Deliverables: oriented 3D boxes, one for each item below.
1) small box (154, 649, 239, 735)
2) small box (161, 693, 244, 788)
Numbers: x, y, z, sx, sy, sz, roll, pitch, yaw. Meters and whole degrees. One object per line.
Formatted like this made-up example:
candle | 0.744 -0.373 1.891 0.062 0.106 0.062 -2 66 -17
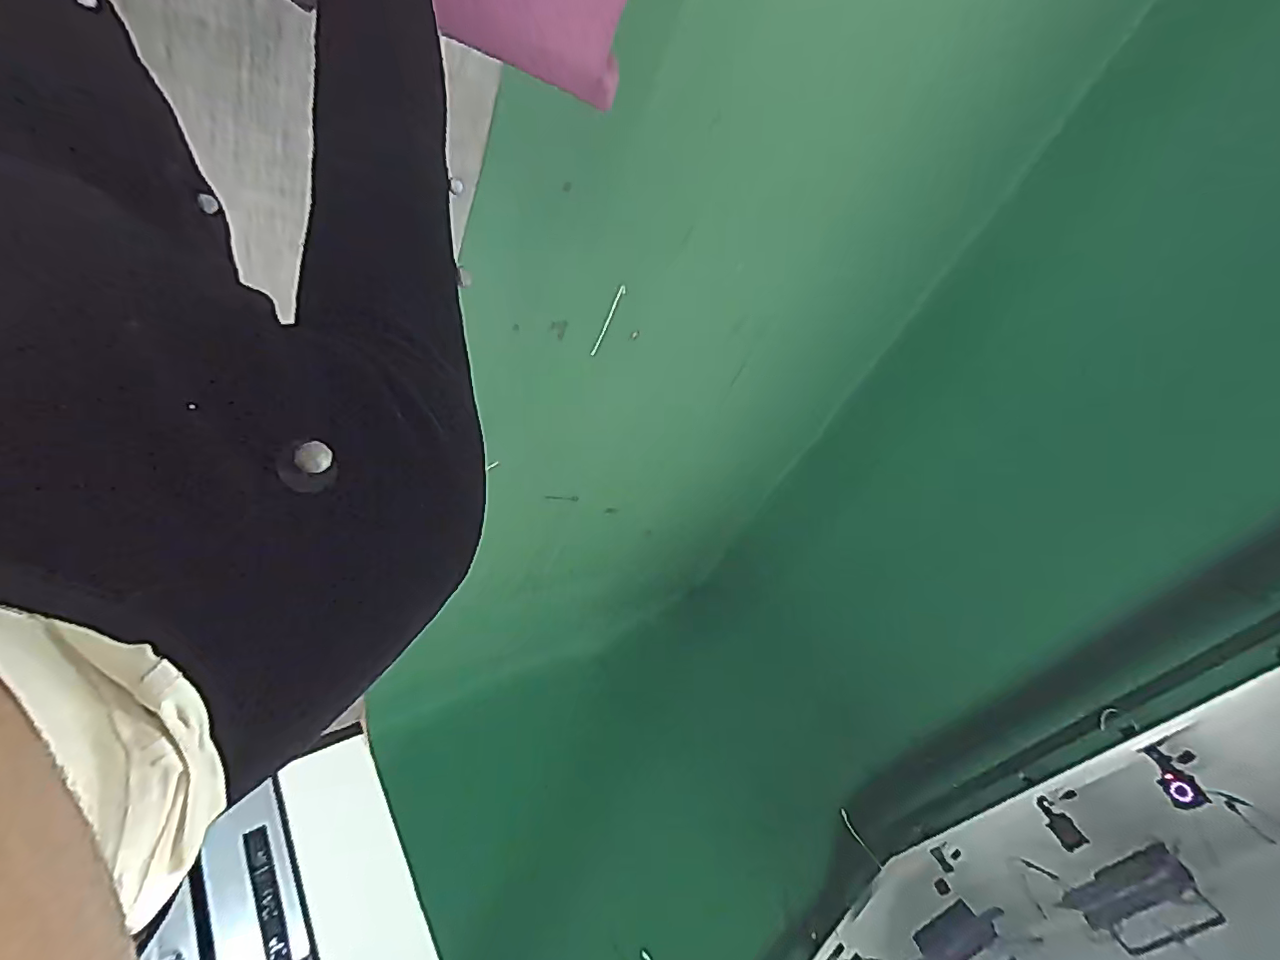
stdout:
small box | -1.385 0.652 1.687 0.179 0.176 0.168 3 131 -48
small box | -1.302 0.767 1.604 0.168 0.176 0.179 1 132 -48
